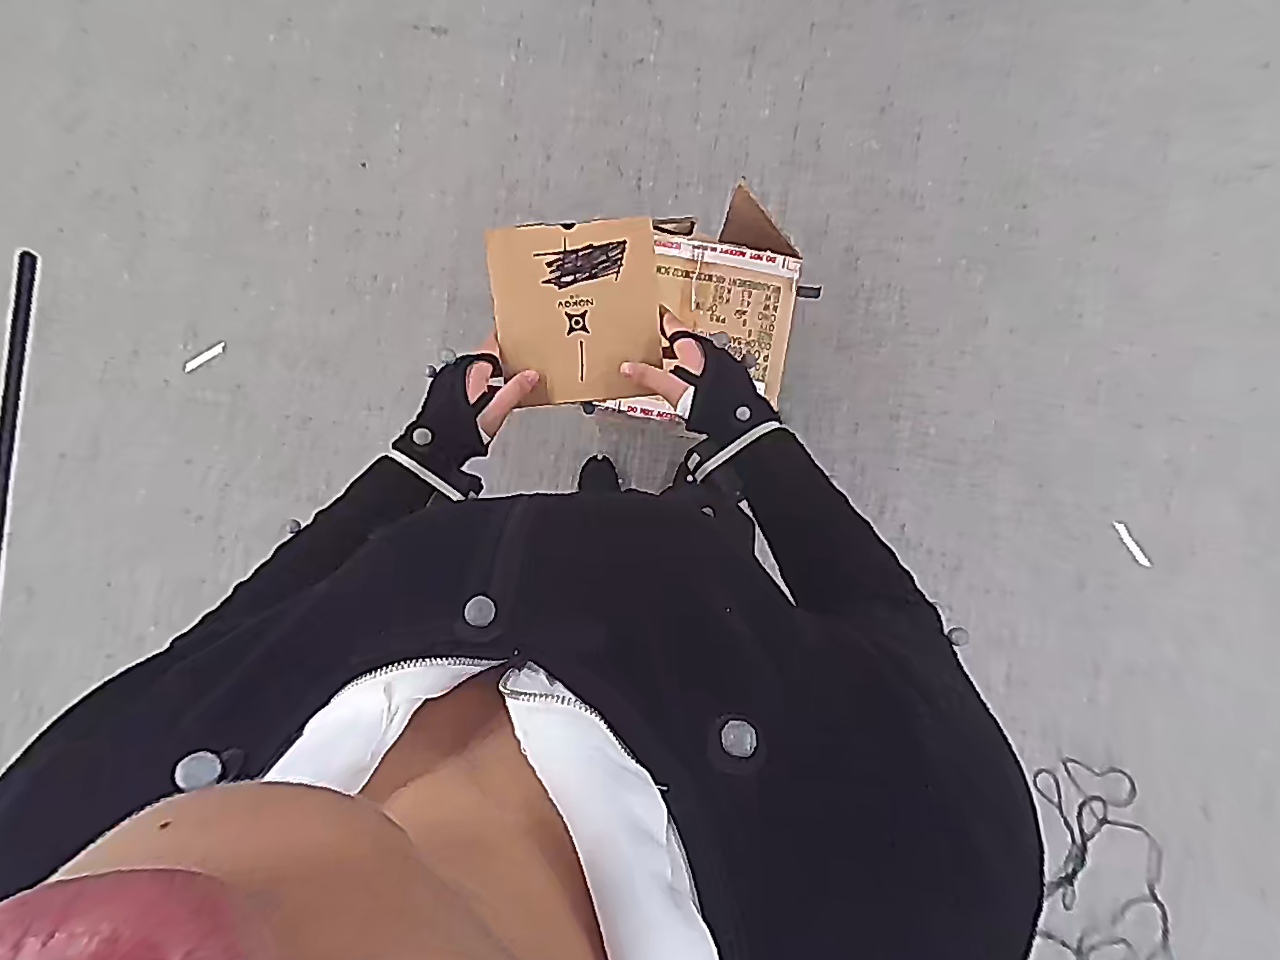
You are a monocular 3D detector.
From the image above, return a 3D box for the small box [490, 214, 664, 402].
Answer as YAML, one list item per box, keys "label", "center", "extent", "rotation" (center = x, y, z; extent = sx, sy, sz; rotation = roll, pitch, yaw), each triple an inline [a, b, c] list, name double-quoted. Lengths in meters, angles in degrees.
- label: "small box"
  center: [-0.065, -0.183, 0.621]
  extent: [0.168, 0.176, 0.179]
  rotation: [-5, 100, -1]
